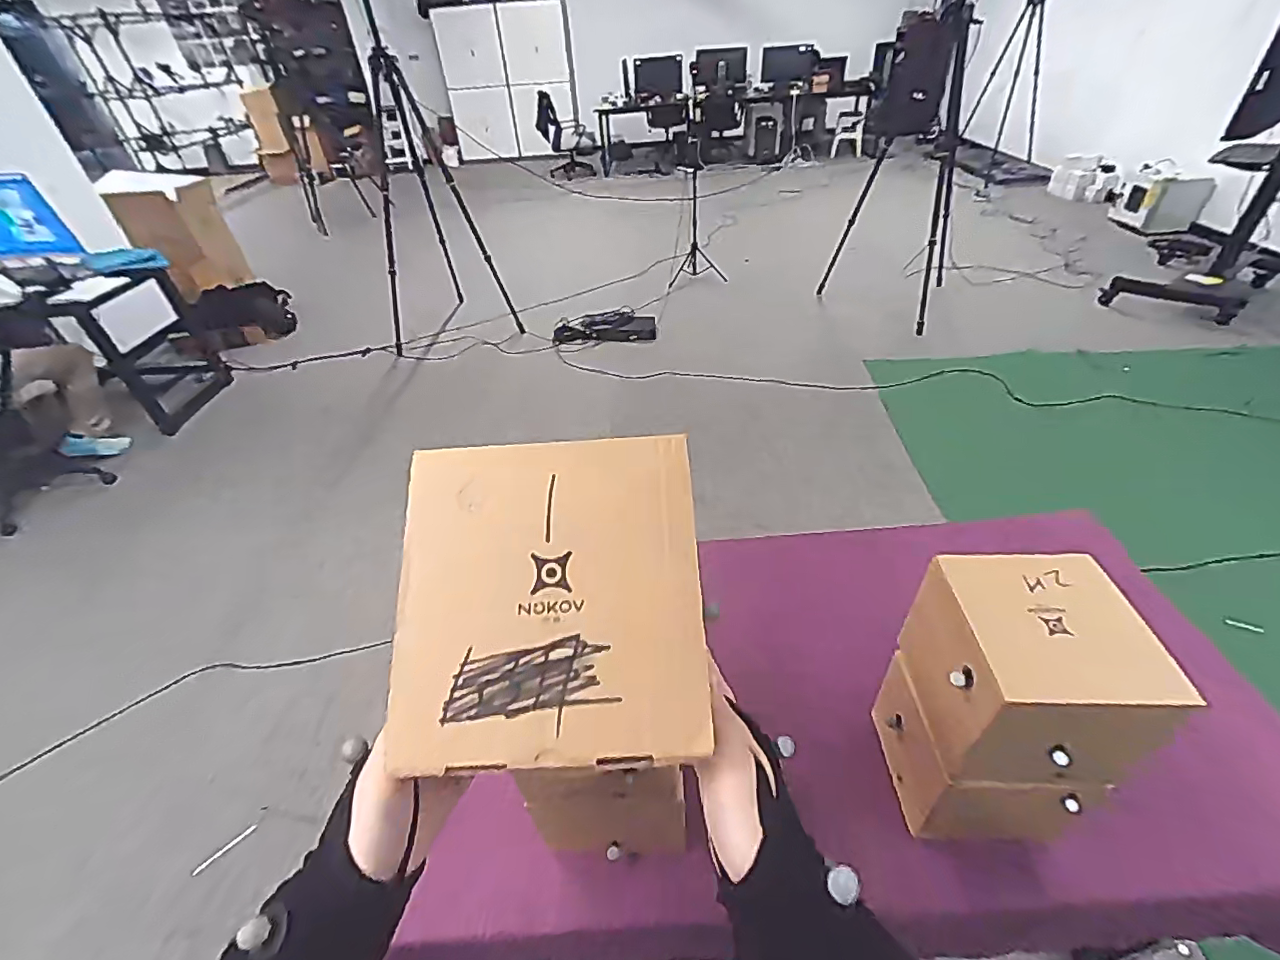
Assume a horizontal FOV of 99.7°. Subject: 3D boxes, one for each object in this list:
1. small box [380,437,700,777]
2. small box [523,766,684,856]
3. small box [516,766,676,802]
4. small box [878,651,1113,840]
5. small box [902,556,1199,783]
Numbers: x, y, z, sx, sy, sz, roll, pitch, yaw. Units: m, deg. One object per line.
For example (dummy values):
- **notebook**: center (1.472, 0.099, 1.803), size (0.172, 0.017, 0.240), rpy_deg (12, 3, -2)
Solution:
- **small box**: center (-0.049, 0.086, 0.369), size (0.168, 0.176, 0.179), rpy_deg (-3, 71, 1)
- **small box**: center (-0.035, 0.359, 0.692), size (0.179, 0.176, 0.168), rpy_deg (-2, 39, 3)
- **small box**: center (-0.046, 0.230, 0.591), size (0.168, 0.176, 0.179), rpy_deg (-1, 39, 4)
- **small box**: center (0.416, 0.331, 0.677), size (0.179, 0.176, 0.168), rpy_deg (-2, 40, 3)
- **small box**: center (0.404, 0.201, 0.577), size (0.168, 0.176, 0.179), rpy_deg (0, 40, 5)
